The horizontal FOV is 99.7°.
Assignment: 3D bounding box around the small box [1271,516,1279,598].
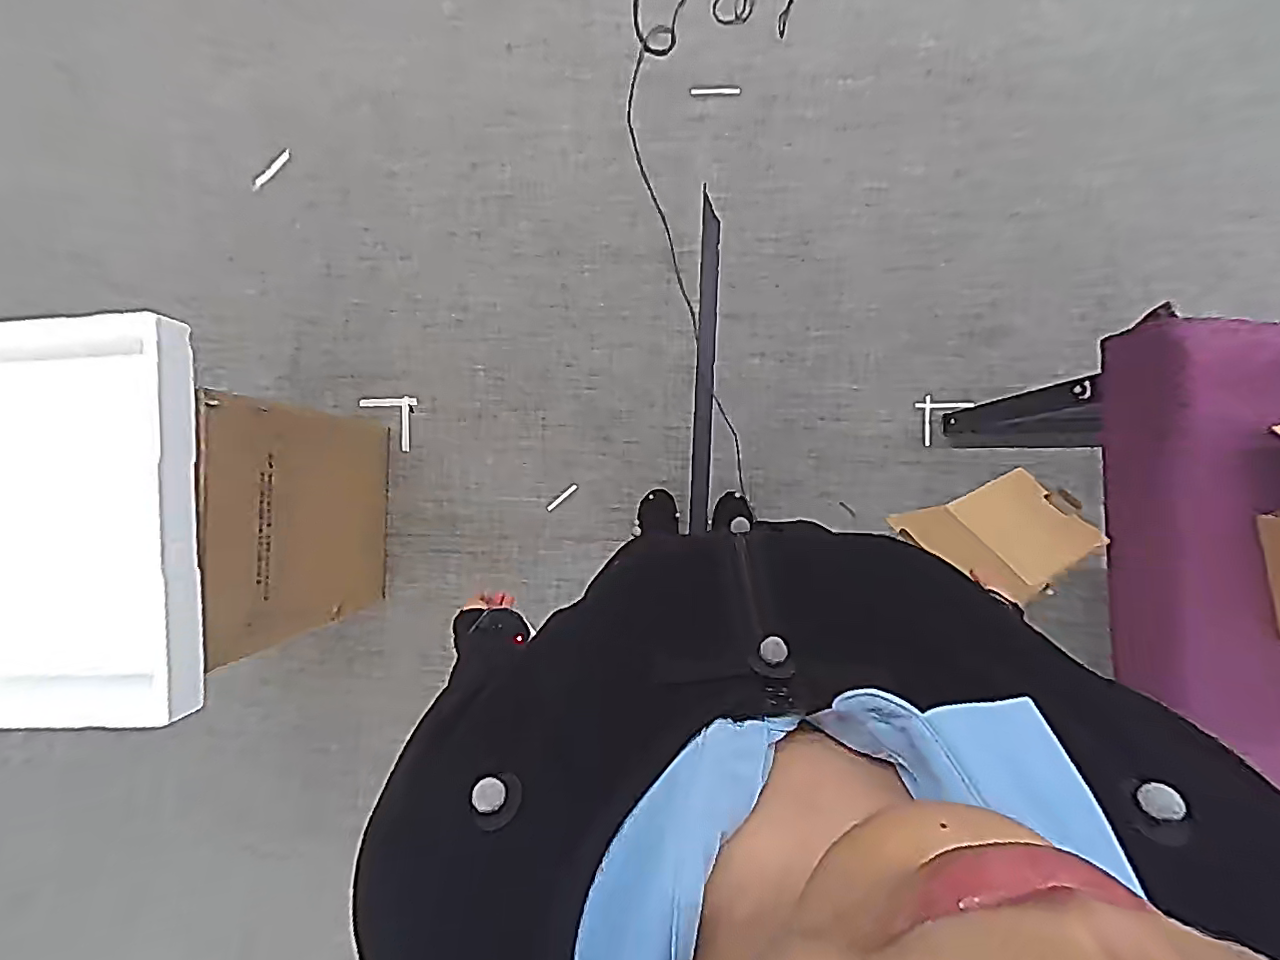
[{"bbox_3d":[0.903,0.118,0.621,0.168,0.176,0.179,-9,89,5],"label":"small box"}]
